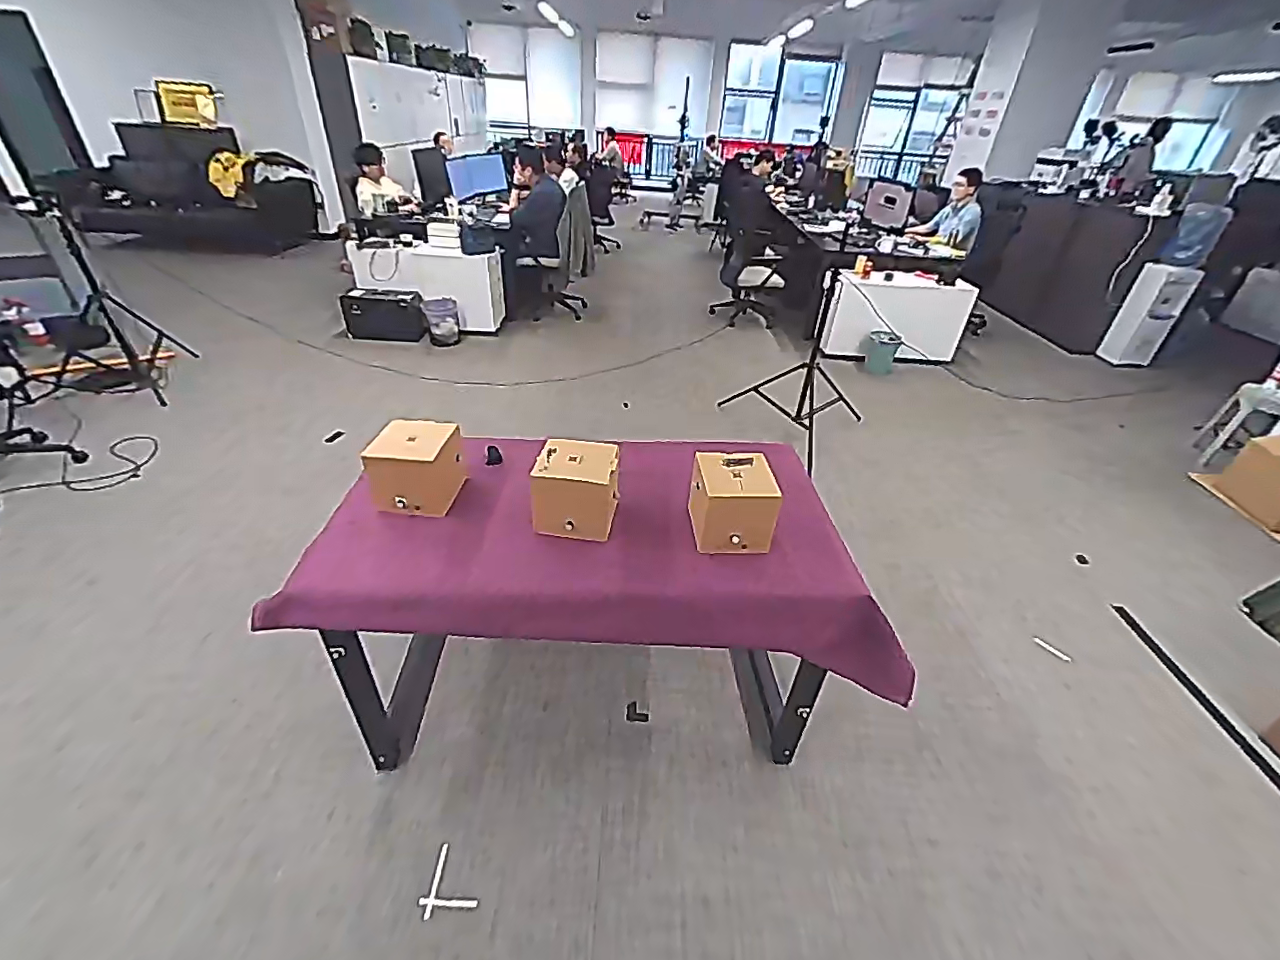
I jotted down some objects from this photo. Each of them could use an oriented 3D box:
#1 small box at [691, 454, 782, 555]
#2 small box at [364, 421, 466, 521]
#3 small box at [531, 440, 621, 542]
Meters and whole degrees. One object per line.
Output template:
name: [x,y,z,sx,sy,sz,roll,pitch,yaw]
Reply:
small box: [0.216,0.056,1.267,0.168,0.176,0.179,0,35,-5]
small box: [-0.534,-0.024,1.312,0.168,0.176,0.179,3,35,1]
small box: [-0.147,0.027,1.277,0.179,0.176,0.168,7,34,4]
